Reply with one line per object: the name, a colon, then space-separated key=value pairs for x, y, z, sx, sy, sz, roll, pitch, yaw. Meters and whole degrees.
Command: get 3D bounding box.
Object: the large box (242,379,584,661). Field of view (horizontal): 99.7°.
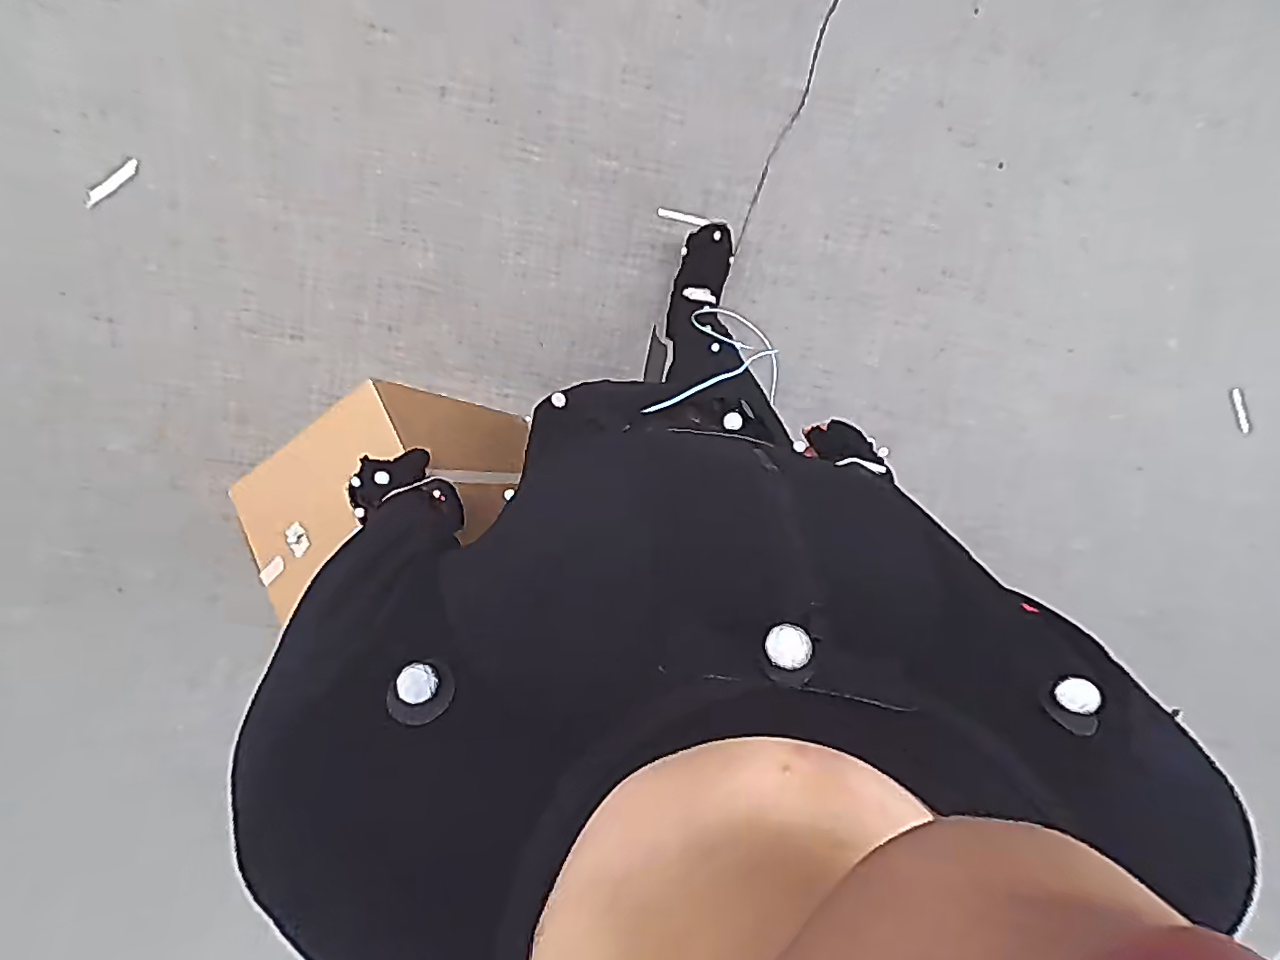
large box: x=-0.366 y=0.066 z=0.955 sx=0.320 sy=0.408 sz=0.320 roll=-31 pitch=79 yaw=15
